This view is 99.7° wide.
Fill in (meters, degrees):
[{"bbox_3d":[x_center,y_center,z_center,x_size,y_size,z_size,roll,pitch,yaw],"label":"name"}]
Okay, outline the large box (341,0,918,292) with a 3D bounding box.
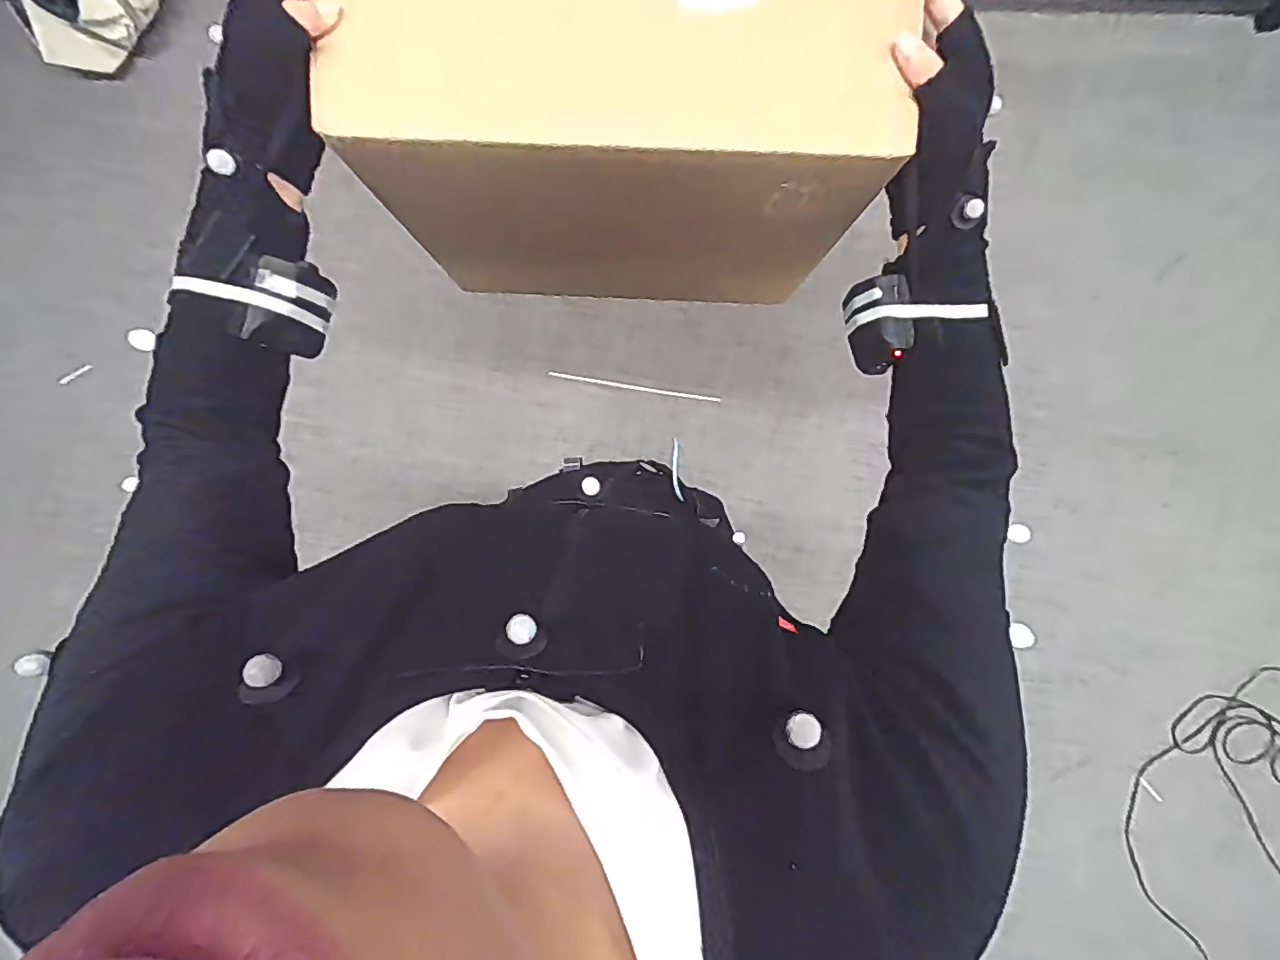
[{"bbox_3d":[-0.008,-0.386,0.520,0.408,0.320,0.320,1,91,-2],"label":"large box"}]
